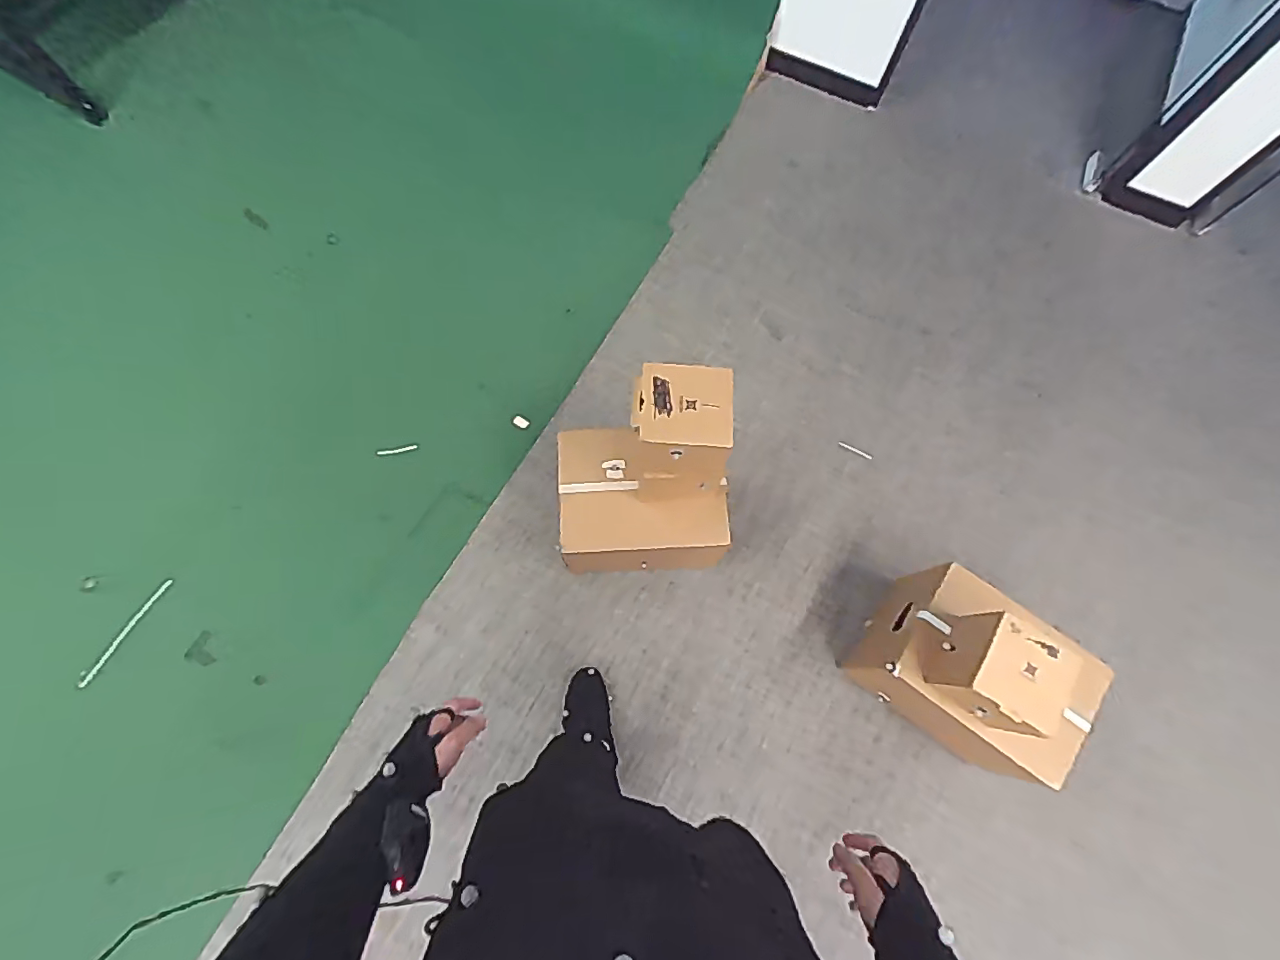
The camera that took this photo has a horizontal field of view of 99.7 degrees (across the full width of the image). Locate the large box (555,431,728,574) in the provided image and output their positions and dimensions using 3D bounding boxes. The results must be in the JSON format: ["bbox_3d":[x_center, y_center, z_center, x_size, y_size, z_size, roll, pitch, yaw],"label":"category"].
[{"bbox_3d":[-0.005,0.067,1.446,0.408,0.320,0.320,-3,71,-3],"label":"large box"}]

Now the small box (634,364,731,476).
[{"bbox_3d":[0.080,-0.113,1.077,0.179,0.176,0.168,4,71,-2],"label":"small box"}]

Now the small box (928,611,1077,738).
[{"bbox_3d":[0.730,0.392,1.111,0.168,0.176,0.179,34,75,8],"label":"small box"}]
